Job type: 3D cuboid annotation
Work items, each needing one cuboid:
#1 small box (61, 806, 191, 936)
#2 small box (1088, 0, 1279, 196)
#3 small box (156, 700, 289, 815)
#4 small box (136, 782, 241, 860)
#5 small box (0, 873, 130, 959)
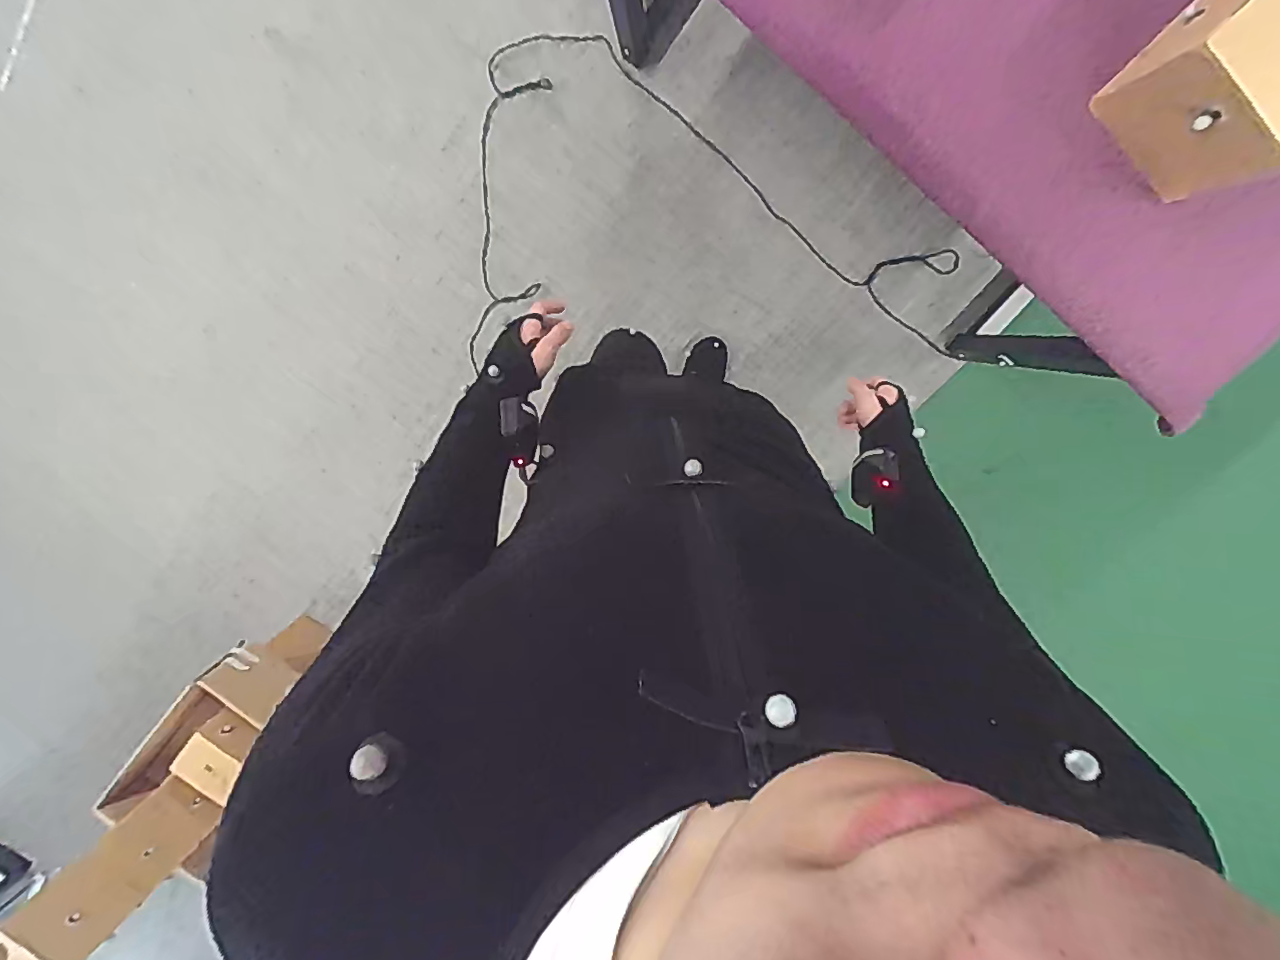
[{"bbox_3d":[-1.256,0.941,1.307,0.179,0.176,0.168,44,103,-9],"label":"small box"},{"bbox_3d":[0.693,-0.461,0.626,0.179,0.176,0.168,44,104,-7],"label":"small box"},{"bbox_3d":[-1.064,0.702,1.391,0.179,0.176,0.168,41,105,-7],"label":"small box"},{"bbox_3d":[-1.243,0.897,1.464,0.168,0.176,0.179,-43,98,13],"label":"small box"},{"bbox_3d":[-1.268,0.984,1.148,0.179,0.176,0.168,43,103,-9],"label":"small box"}]
